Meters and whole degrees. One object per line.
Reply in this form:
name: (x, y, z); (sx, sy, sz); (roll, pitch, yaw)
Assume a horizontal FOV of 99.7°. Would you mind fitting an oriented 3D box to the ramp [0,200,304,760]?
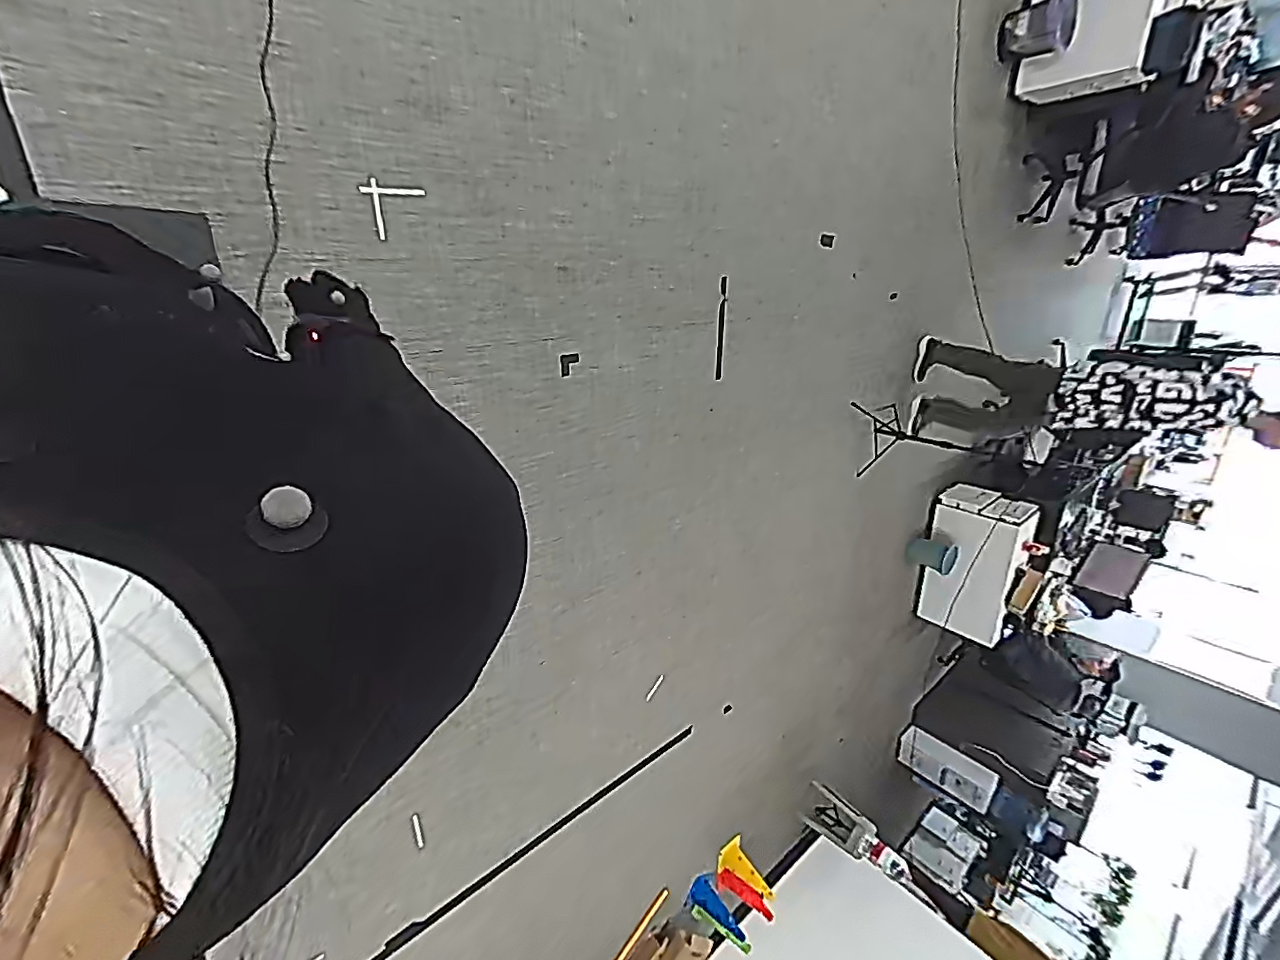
ramp: (-1.044, -0.010, 1.056); (0.509, 0.206, 0.991); (-16, 114, -36)
